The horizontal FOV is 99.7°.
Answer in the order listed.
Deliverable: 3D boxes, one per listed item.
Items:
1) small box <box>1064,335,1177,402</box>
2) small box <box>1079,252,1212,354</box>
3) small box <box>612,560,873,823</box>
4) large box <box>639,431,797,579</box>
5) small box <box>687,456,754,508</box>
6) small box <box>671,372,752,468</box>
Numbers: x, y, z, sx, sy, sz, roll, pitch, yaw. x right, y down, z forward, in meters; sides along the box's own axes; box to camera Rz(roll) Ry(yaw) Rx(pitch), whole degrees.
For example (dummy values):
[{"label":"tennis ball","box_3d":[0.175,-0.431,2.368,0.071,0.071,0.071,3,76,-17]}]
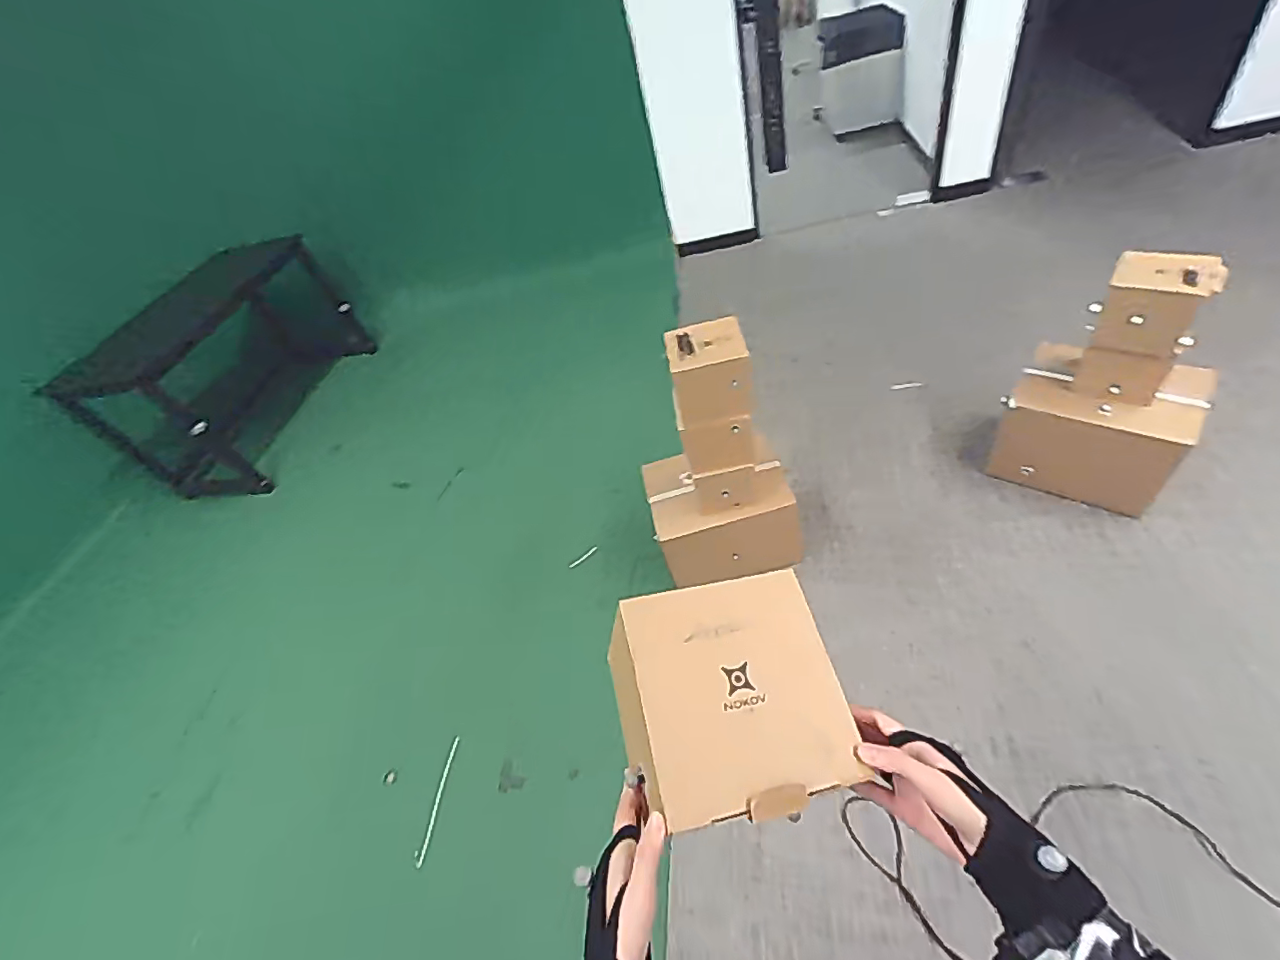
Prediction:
[{"label":"small box","box_3d":[1.273,-0.329,1.436,0.179,0.176,0.168,21,57,31]},{"label":"small box","box_3d":[1.220,-0.428,1.314,0.179,0.176,0.168,24,59,35]},{"label":"small box","box_3d":[0.072,0.196,0.497,0.168,0.176,0.179,-7,58,-12]},{"label":"large box","box_3d":[0.247,0.105,1.714,0.408,0.320,0.320,-17,45,4]},{"label":"small box","box_3d":[0.219,-0.039,1.513,0.168,0.176,0.179,-12,47,7]},{"label":"small box","box_3d":[0.185,-0.150,1.400,0.179,0.176,0.168,-11,47,7]}]
